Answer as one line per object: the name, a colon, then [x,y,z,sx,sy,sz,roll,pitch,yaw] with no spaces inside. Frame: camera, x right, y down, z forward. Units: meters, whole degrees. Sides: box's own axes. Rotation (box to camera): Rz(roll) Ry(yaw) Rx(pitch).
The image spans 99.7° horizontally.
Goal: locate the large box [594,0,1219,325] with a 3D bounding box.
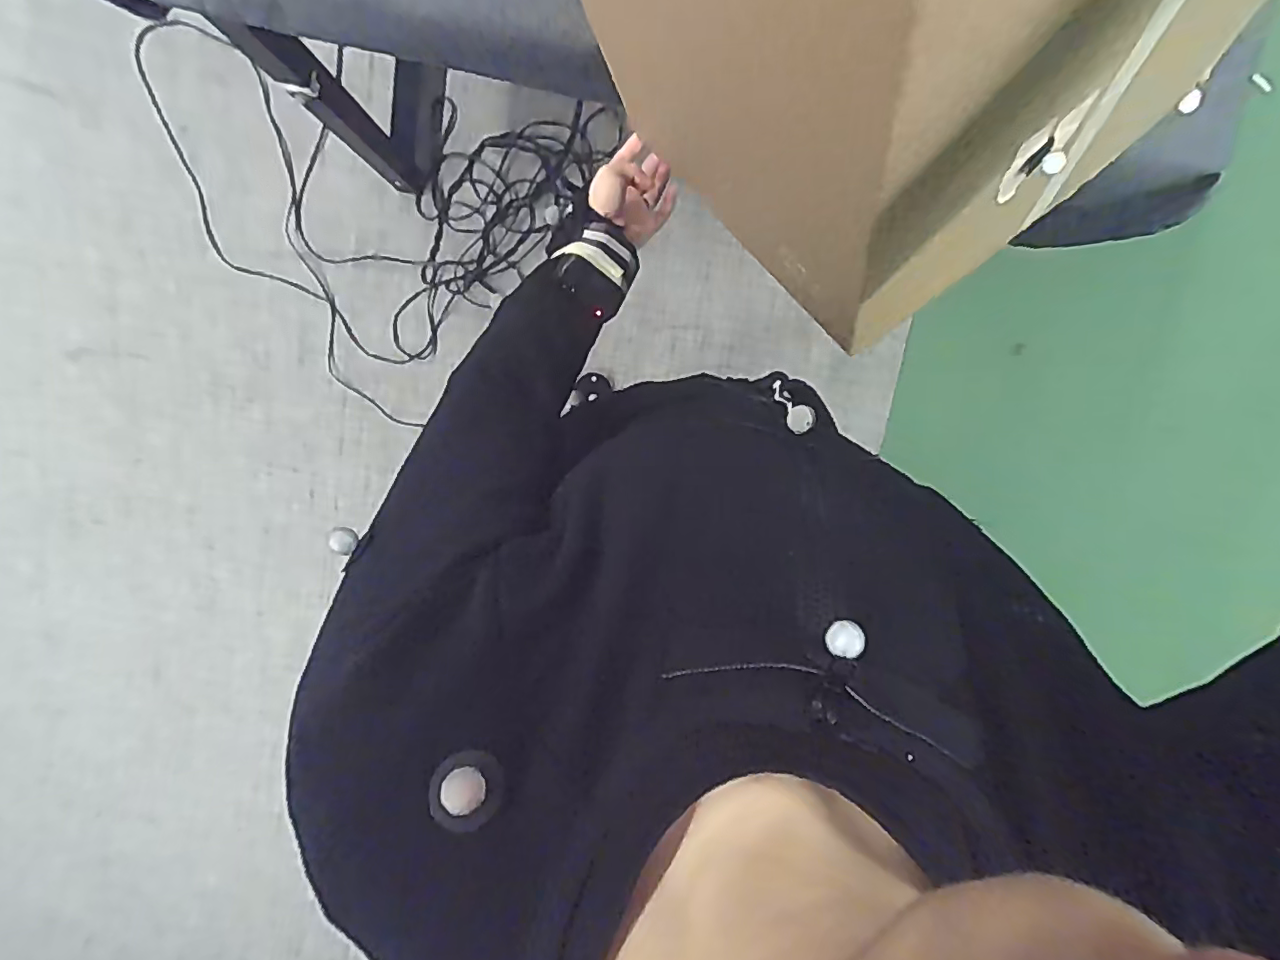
large box: [0.143,-0.357,0.281,0.320,0.408,0.320,-40,75,10]
